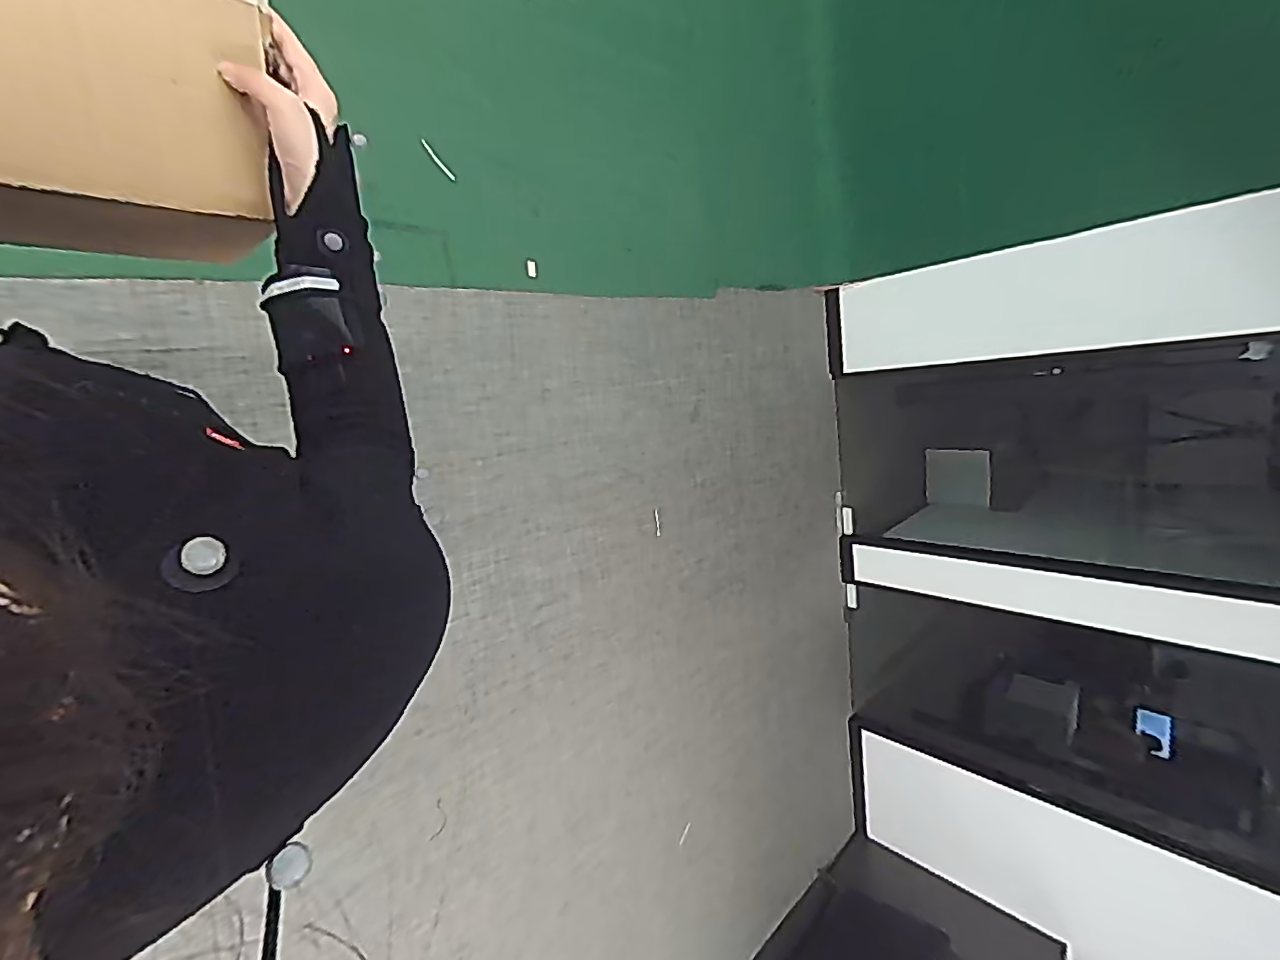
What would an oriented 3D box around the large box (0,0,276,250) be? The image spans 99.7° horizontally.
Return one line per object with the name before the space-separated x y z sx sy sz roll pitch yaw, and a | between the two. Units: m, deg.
large box | -0.540 -0.359 0.385 0.408 0.320 0.320 -11 108 -40
